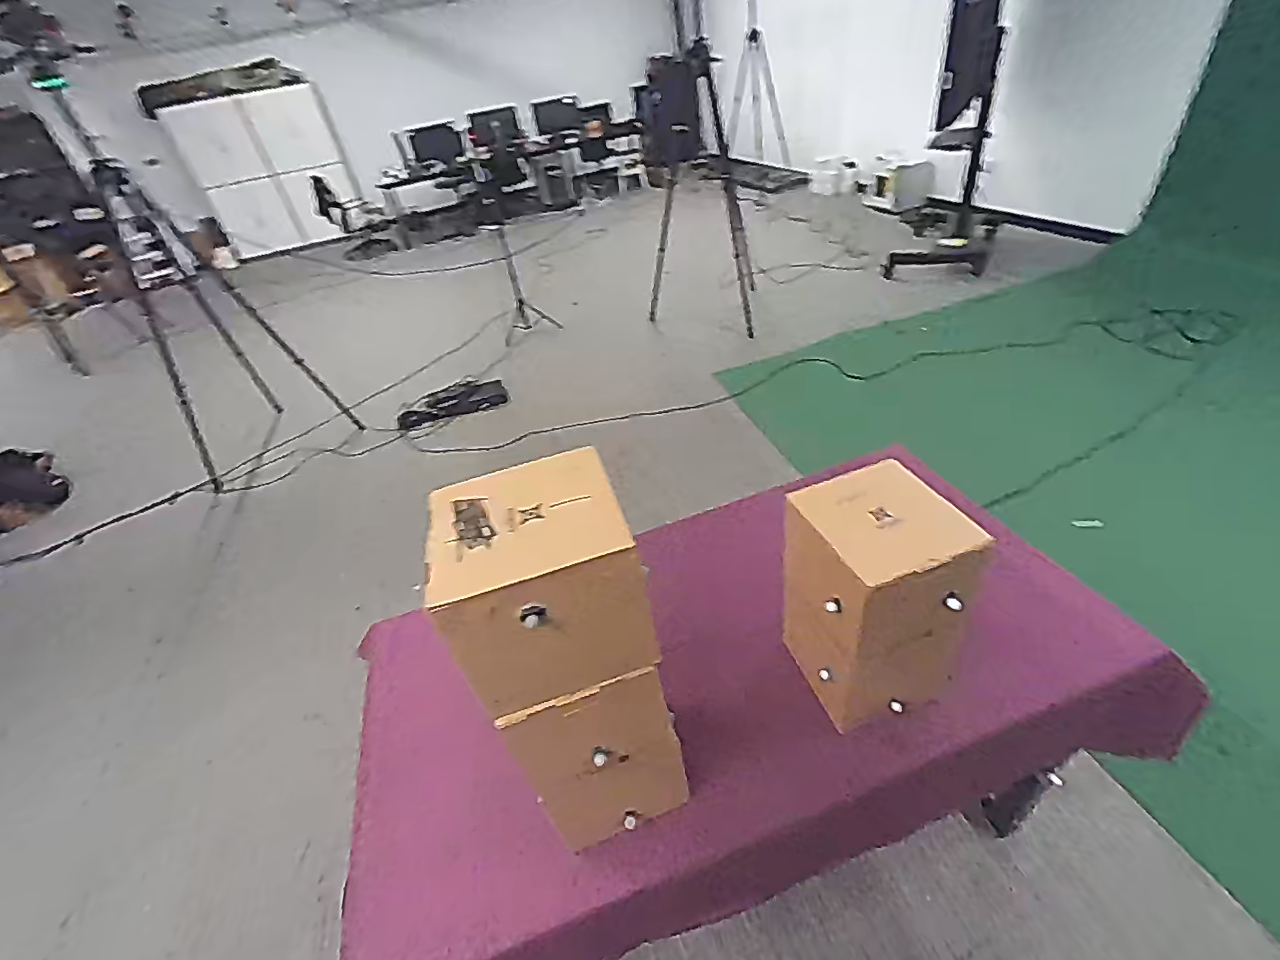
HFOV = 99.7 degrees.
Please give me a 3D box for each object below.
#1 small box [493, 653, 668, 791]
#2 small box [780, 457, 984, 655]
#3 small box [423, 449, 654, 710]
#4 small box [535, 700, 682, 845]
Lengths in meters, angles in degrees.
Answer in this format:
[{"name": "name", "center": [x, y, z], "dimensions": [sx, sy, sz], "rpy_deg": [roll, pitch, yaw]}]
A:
[{"name": "small box", "center": [-0.077, 0.227, 0.647], "dimensions": [0.168, 0.176, 0.179], "rpy_deg": [-19, 39, -8]}, {"name": "small box", "center": [0.300, 0.103, 0.709], "dimensions": [0.168, 0.176, 0.179], "rpy_deg": [-18, 39, -9]}, {"name": "small box", "center": [-0.098, 0.099, 0.546], "dimensions": [0.179, 0.176, 0.168], "rpy_deg": [-17, 38, -8]}, {"name": "small box", "center": [-0.050, 0.358, 0.745], "dimensions": [0.179, 0.176, 0.168], "rpy_deg": [-19, 38, -11]}]
